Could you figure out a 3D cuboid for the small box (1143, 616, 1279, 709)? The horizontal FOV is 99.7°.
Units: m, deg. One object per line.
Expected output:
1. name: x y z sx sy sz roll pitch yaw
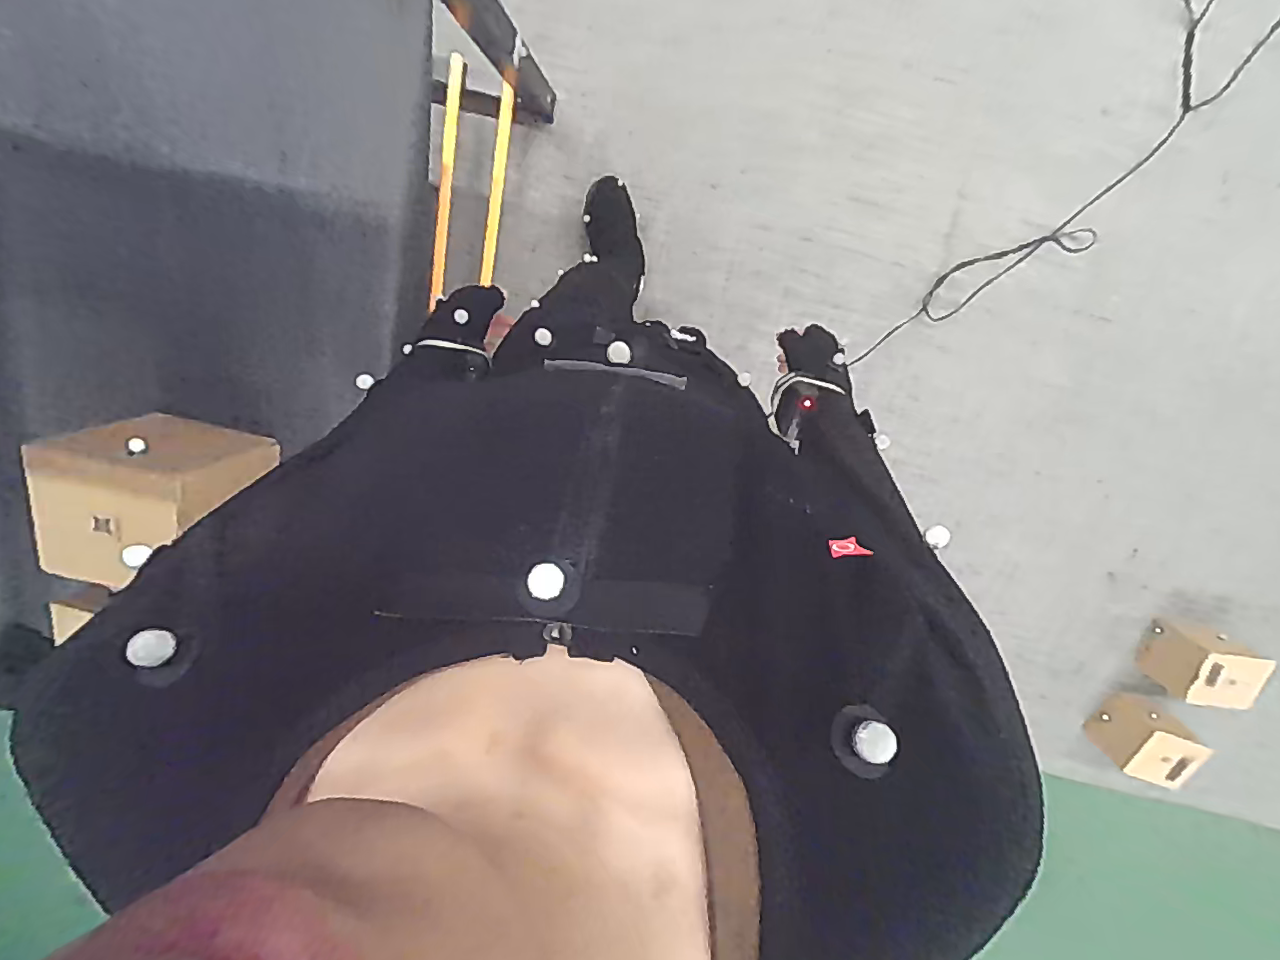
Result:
1. small box: 1.553 0.492 1.480 0.179 0.176 0.168 6 110 2
